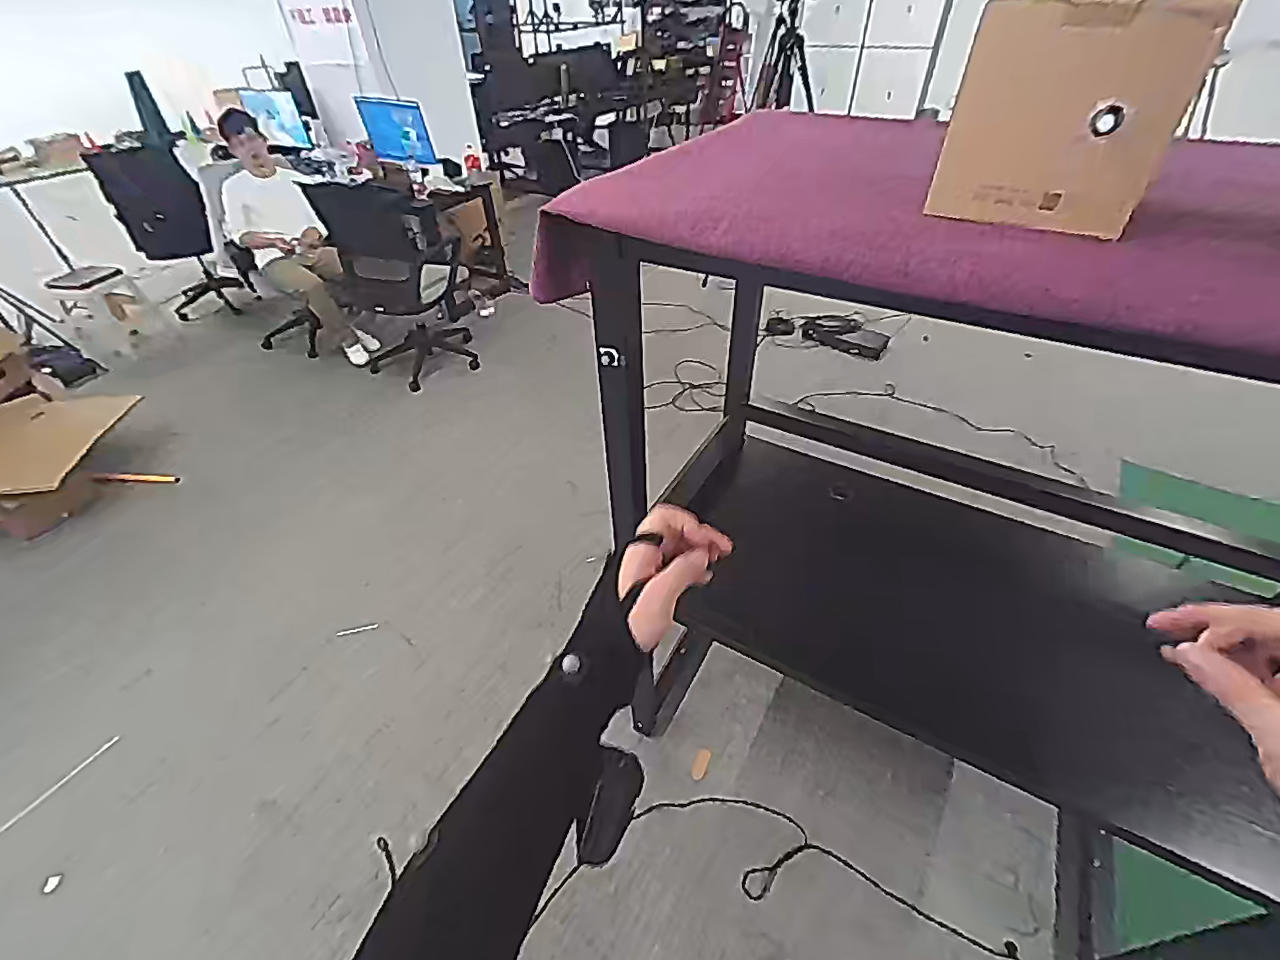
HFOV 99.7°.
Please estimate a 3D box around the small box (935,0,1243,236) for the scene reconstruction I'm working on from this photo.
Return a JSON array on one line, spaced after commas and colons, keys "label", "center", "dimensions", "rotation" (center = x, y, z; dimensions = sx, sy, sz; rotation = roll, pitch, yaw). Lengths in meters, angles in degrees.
[{"label": "small box", "center": [0.402, -0.345, 0.504], "dimensions": [0.168, 0.176, 0.179], "rotation": [27, 49, 28]}]
